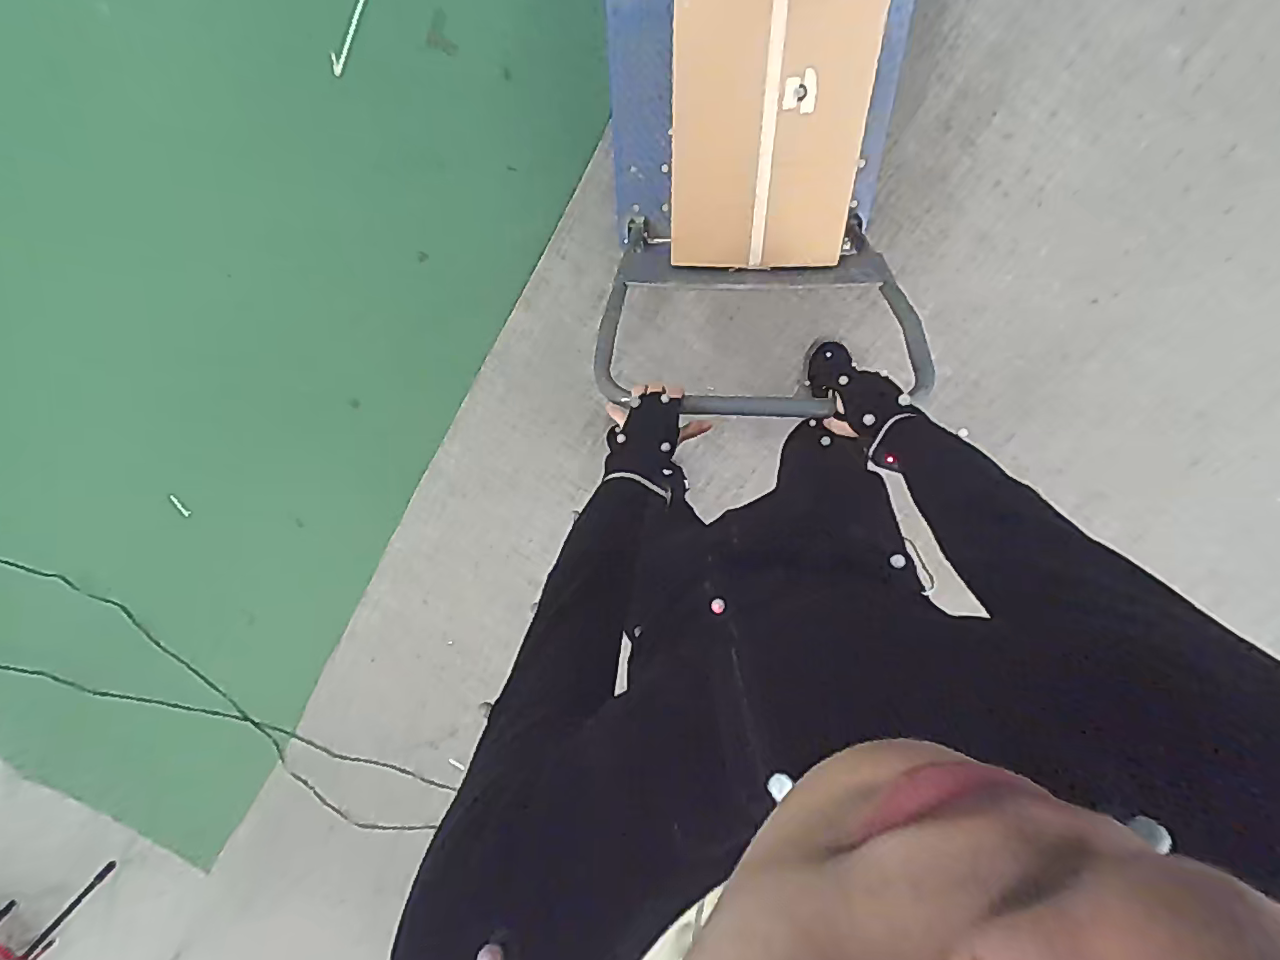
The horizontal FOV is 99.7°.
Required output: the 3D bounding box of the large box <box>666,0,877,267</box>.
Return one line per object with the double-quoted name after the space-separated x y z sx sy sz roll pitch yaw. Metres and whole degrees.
0.221 -0.656 1.037 0.320 0.320 0.408 3 127 5 "large box"
